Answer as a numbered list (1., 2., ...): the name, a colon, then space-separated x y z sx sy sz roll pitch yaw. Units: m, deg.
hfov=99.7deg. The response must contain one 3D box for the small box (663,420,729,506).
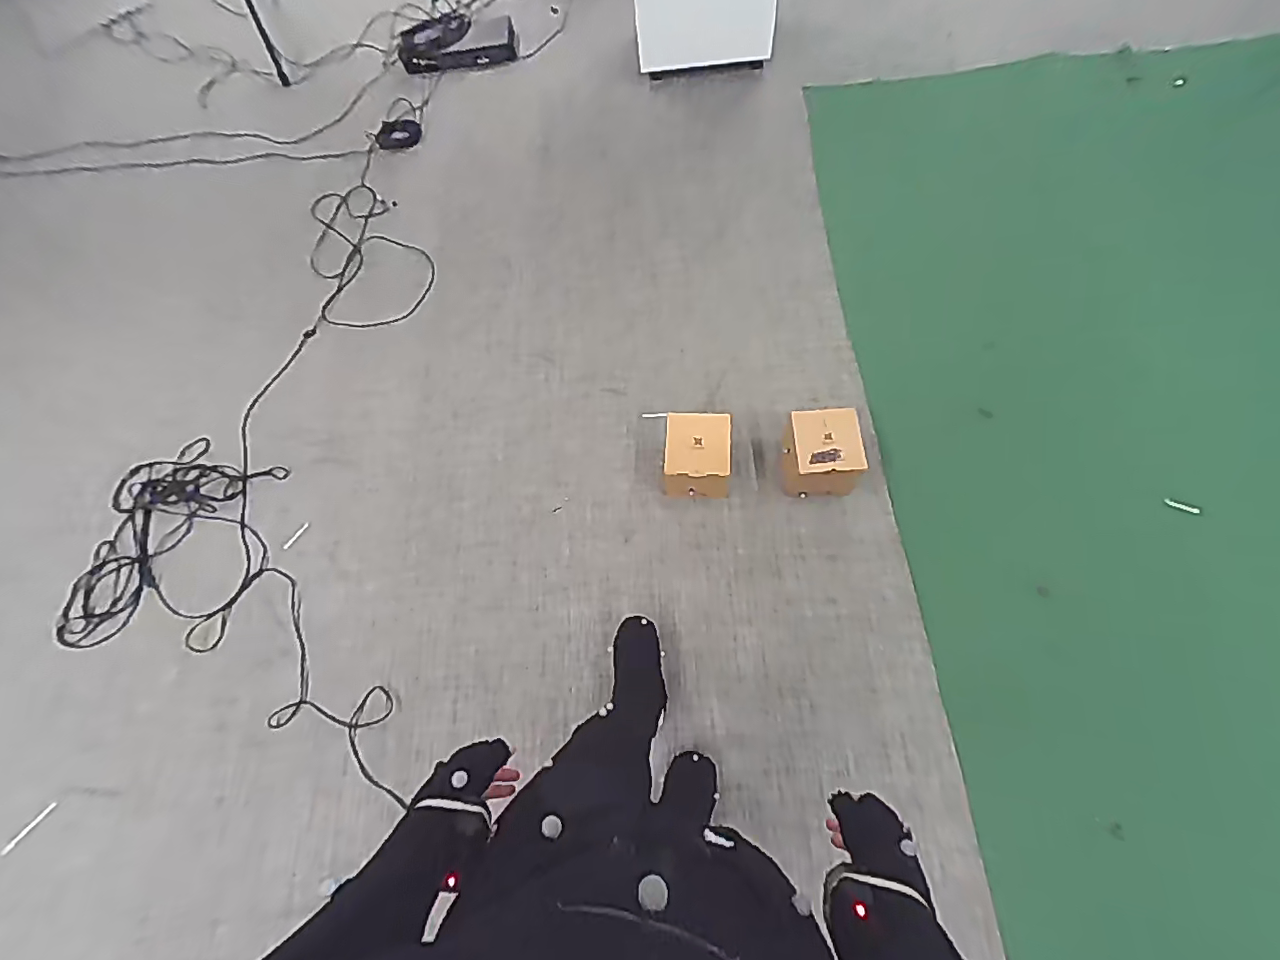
1. small box: 0.150 -0.044 1.447 0.168 0.176 0.179 1 68 6

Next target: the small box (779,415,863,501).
1. small box: 0.468 -0.051 1.420 0.168 0.176 0.179 -3 66 4
